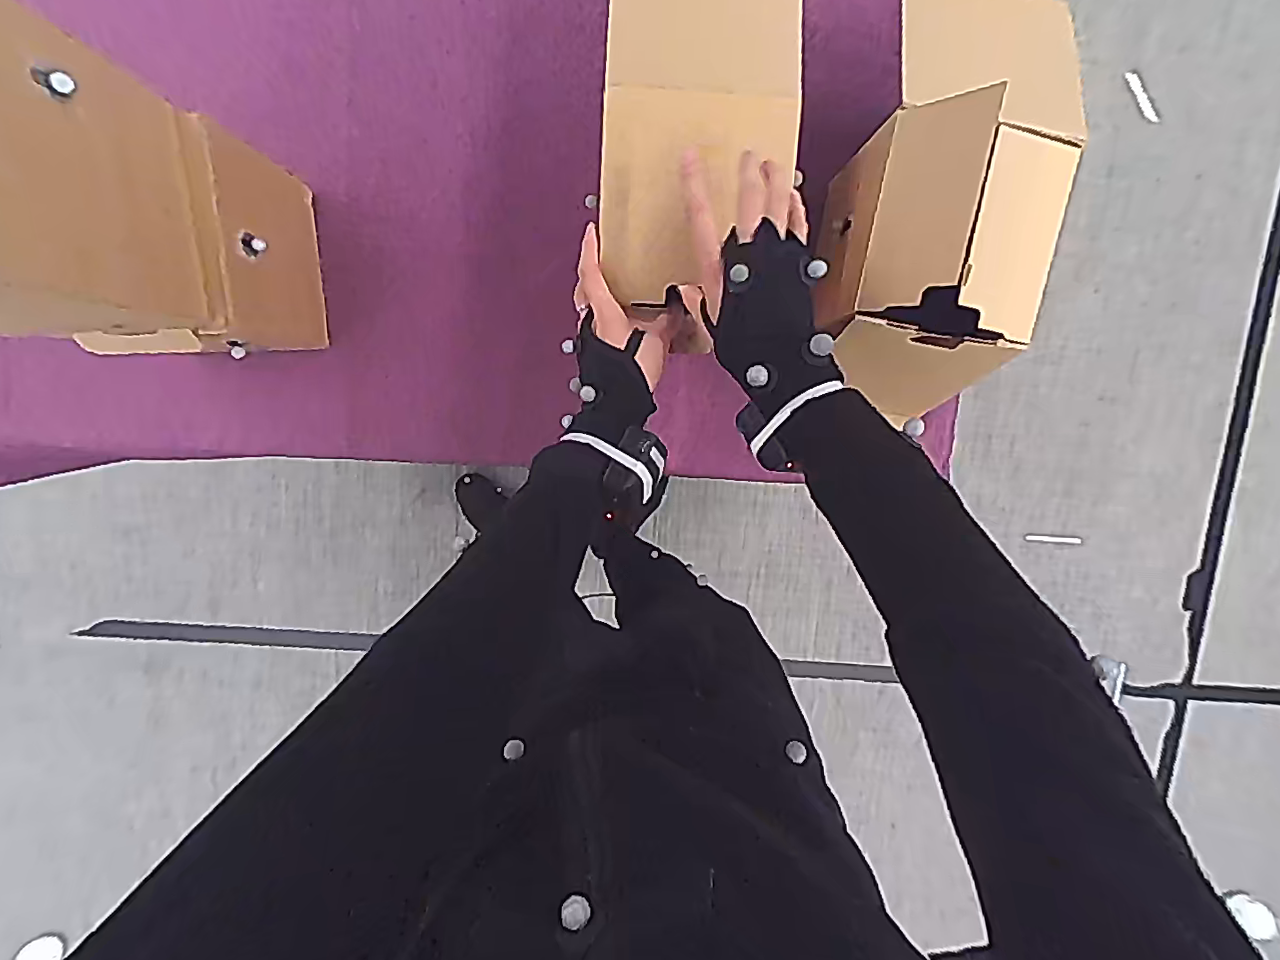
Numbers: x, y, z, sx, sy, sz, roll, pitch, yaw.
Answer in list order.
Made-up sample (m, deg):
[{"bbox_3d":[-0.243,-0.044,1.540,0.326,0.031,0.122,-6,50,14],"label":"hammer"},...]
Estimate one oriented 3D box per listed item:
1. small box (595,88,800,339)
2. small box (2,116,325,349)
[{"bbox_3d":[0.045,-0.244,0.540,0.168,0.176,0.179,4,99,-1],"label":"small box"},{"bbox_3d":[-0.437,-0.223,0.532,0.168,0.176,0.179,-1,99,-2],"label":"small box"}]
